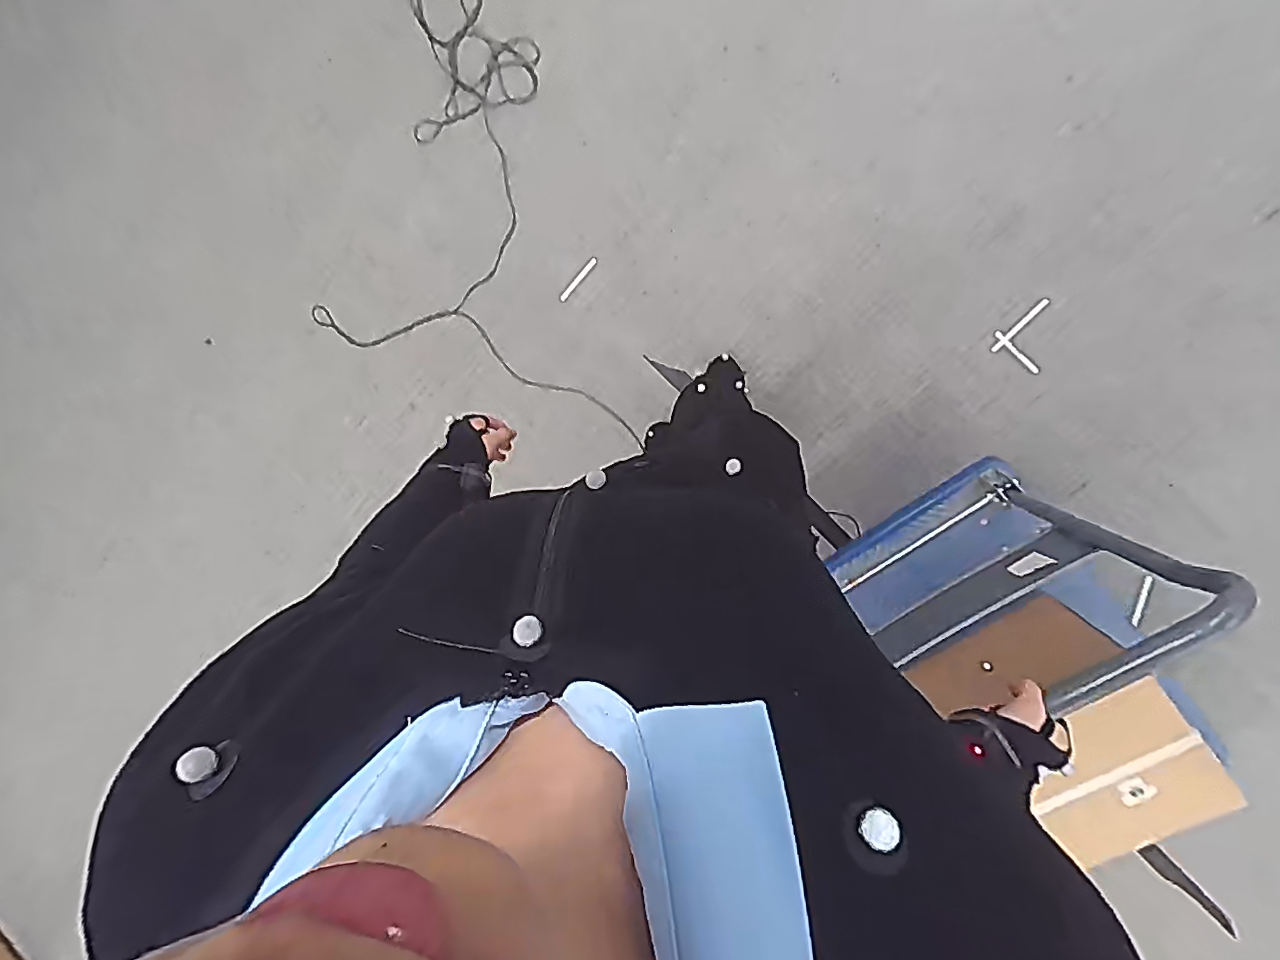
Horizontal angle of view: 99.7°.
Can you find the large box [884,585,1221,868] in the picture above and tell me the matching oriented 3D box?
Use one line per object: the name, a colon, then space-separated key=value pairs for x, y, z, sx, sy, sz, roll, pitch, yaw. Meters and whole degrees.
large box: x=0.811 y=0.494 z=1.142 sx=0.408 sy=0.320 sz=0.320 roll=-38 pitch=93 yaw=14
